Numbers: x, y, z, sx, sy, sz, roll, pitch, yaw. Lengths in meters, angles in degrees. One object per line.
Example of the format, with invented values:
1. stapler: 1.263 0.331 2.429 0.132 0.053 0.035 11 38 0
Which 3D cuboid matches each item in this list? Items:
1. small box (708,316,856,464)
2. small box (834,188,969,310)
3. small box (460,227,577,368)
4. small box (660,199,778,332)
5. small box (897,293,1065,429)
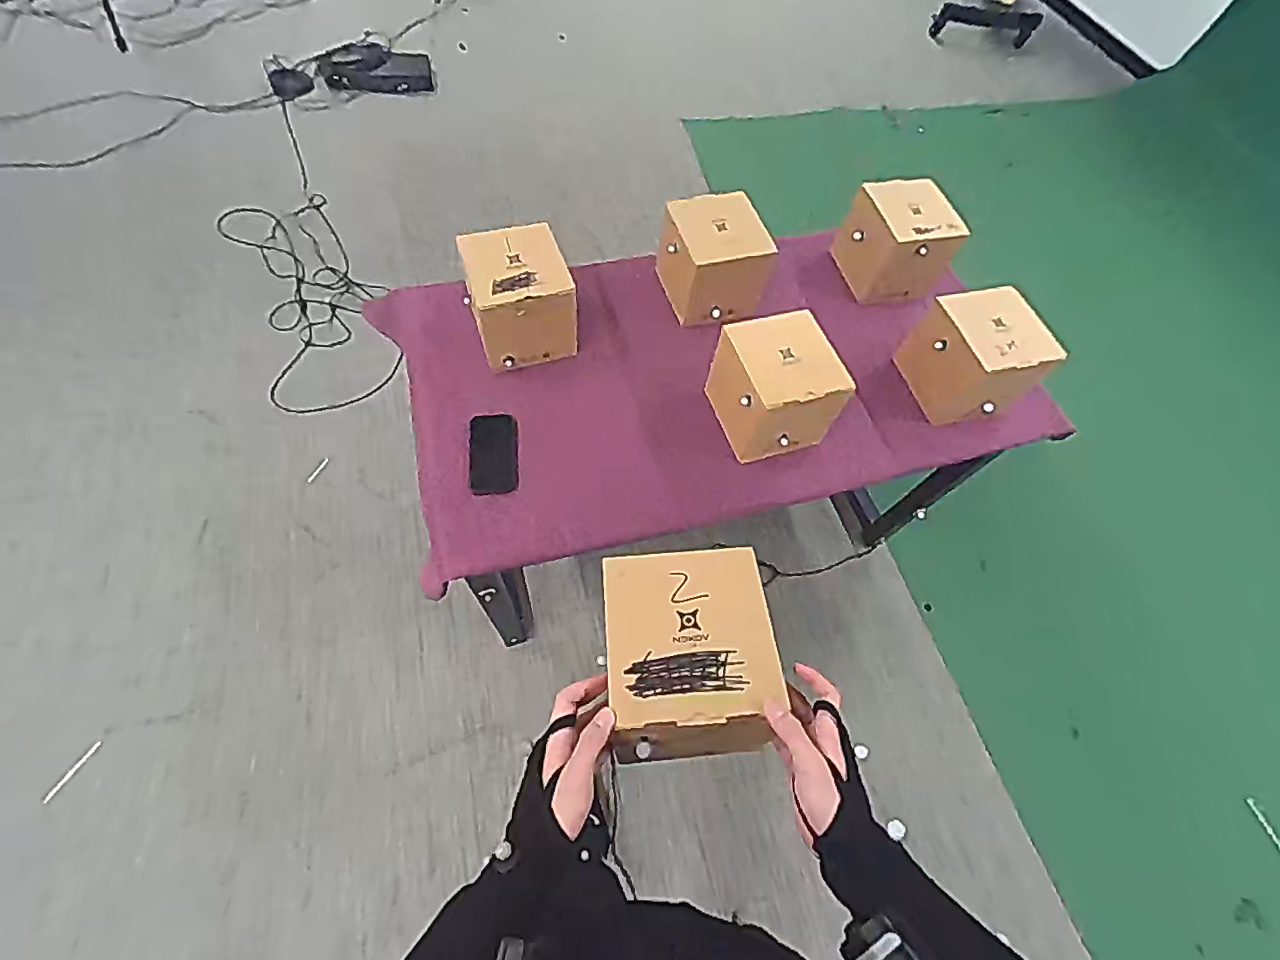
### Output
1. small box: 0.234 -0.155 0.946 0.168 0.176 0.179 -14 64 -13
2. small box: 0.545 -0.493 1.159 0.168 0.176 0.179 -10 63 -10
3. small box: -0.215 -0.323 0.988 0.168 0.176 0.179 -16 64 -14
4. small box: 0.147 -0.427 1.084 0.168 0.176 0.179 -13 65 -12
5. small box: 0.623 -0.220 1.016 0.168 0.176 0.179 -10 63 -10
